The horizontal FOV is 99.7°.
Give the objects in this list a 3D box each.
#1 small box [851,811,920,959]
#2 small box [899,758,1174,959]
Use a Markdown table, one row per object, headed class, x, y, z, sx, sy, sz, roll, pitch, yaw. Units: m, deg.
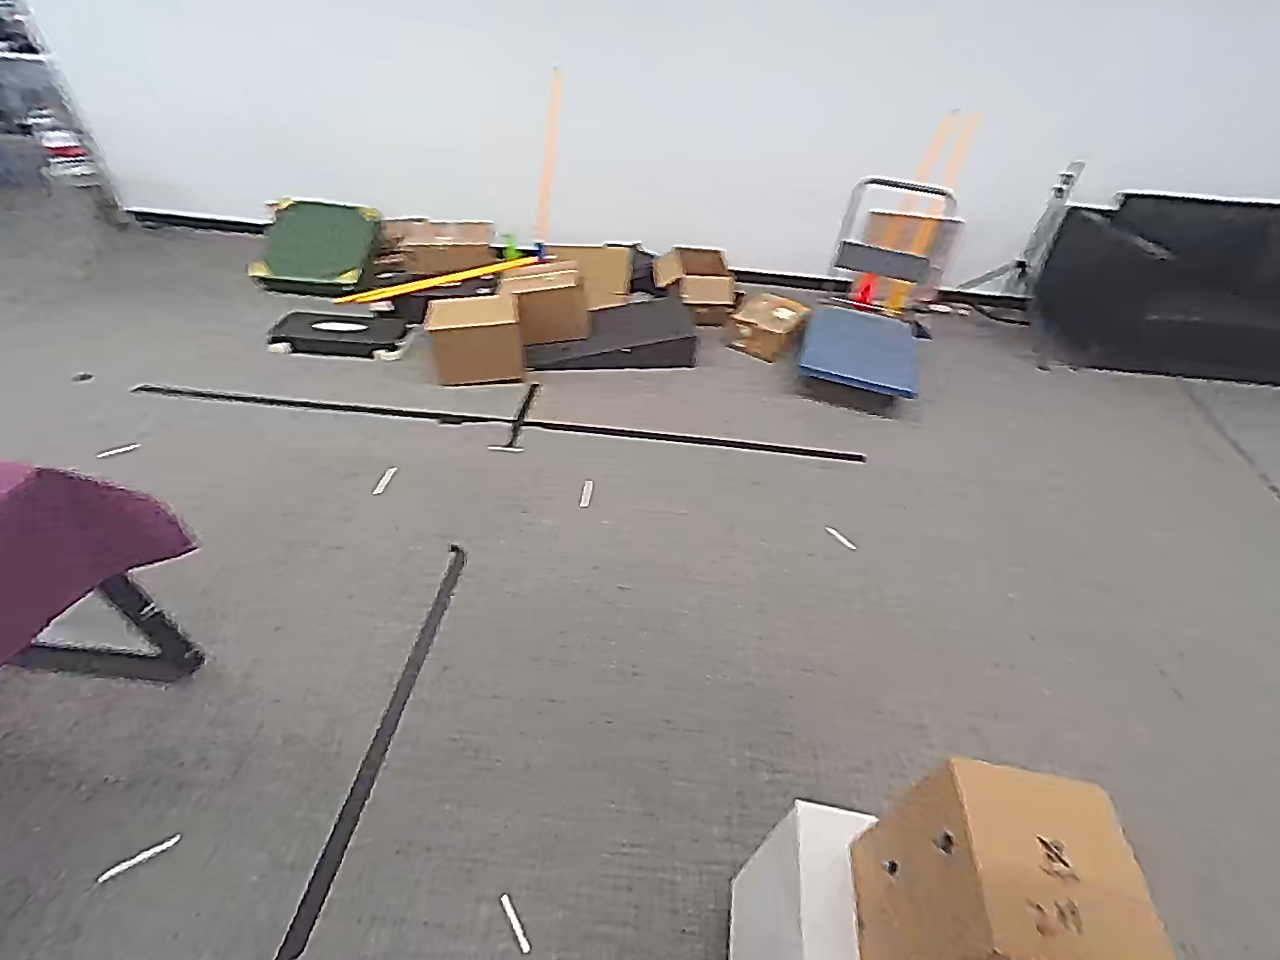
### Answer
| class | x | y | z | sx | sy | sz | roll | pitch | yaw |
| --- | --- | --- | --- | --- | --- | --- | --- | --- | --- |
| small box | 0.393 | 0.561 | 0.696 | 0.179 | 0.176 | 0.168 | 12 | 42 | 5 |
| small box | 0.403 | 0.439 | 0.585 | 0.168 | 0.176 | 0.179 | 10 | 43 | 6 |
